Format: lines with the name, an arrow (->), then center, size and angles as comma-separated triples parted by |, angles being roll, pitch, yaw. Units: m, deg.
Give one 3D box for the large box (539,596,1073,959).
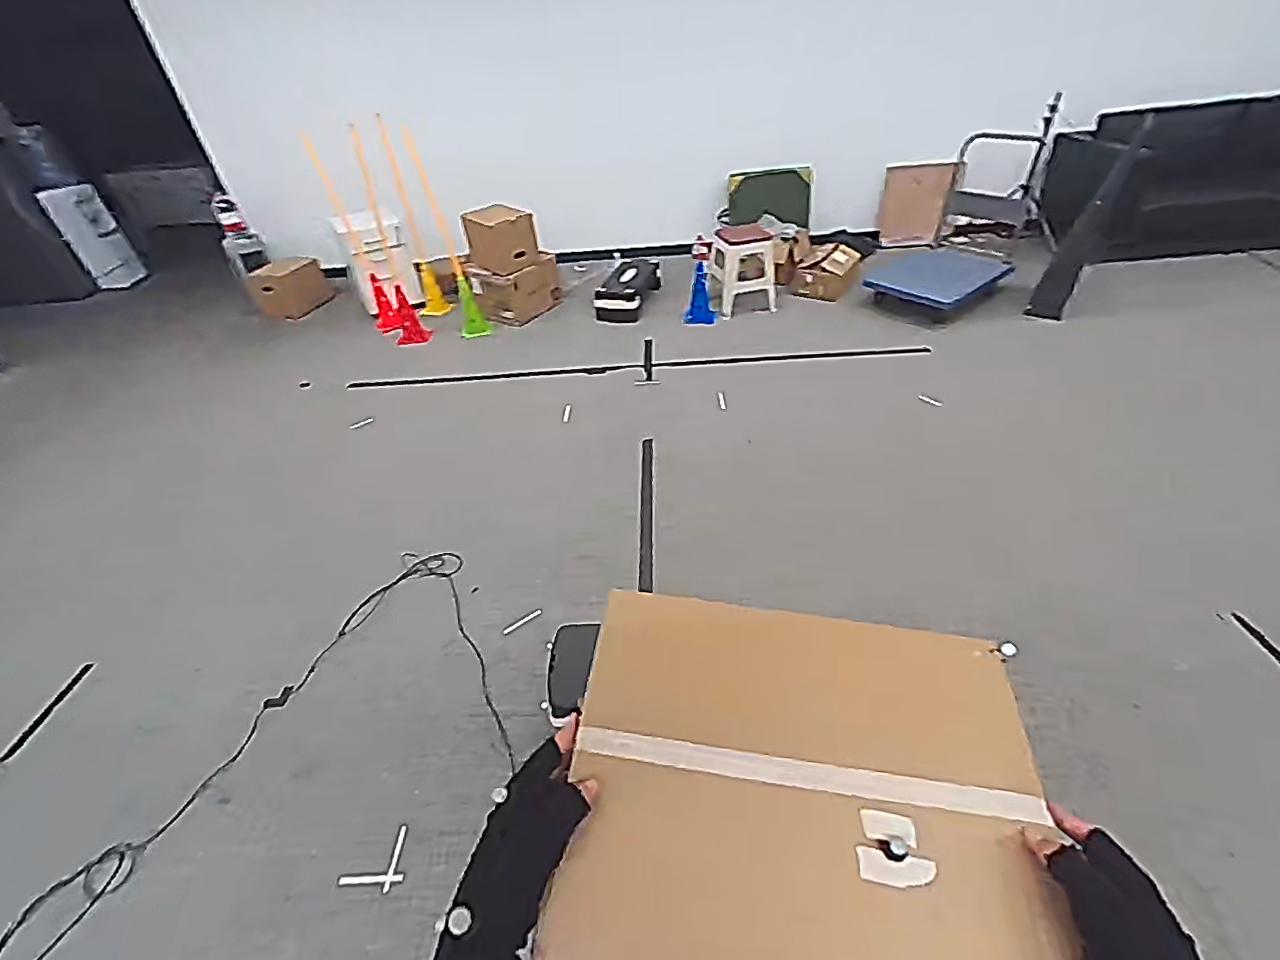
large box -> 0.134, 0.358, 0.593 | 0.408, 0.320, 0.320 | 6, 49, 4
